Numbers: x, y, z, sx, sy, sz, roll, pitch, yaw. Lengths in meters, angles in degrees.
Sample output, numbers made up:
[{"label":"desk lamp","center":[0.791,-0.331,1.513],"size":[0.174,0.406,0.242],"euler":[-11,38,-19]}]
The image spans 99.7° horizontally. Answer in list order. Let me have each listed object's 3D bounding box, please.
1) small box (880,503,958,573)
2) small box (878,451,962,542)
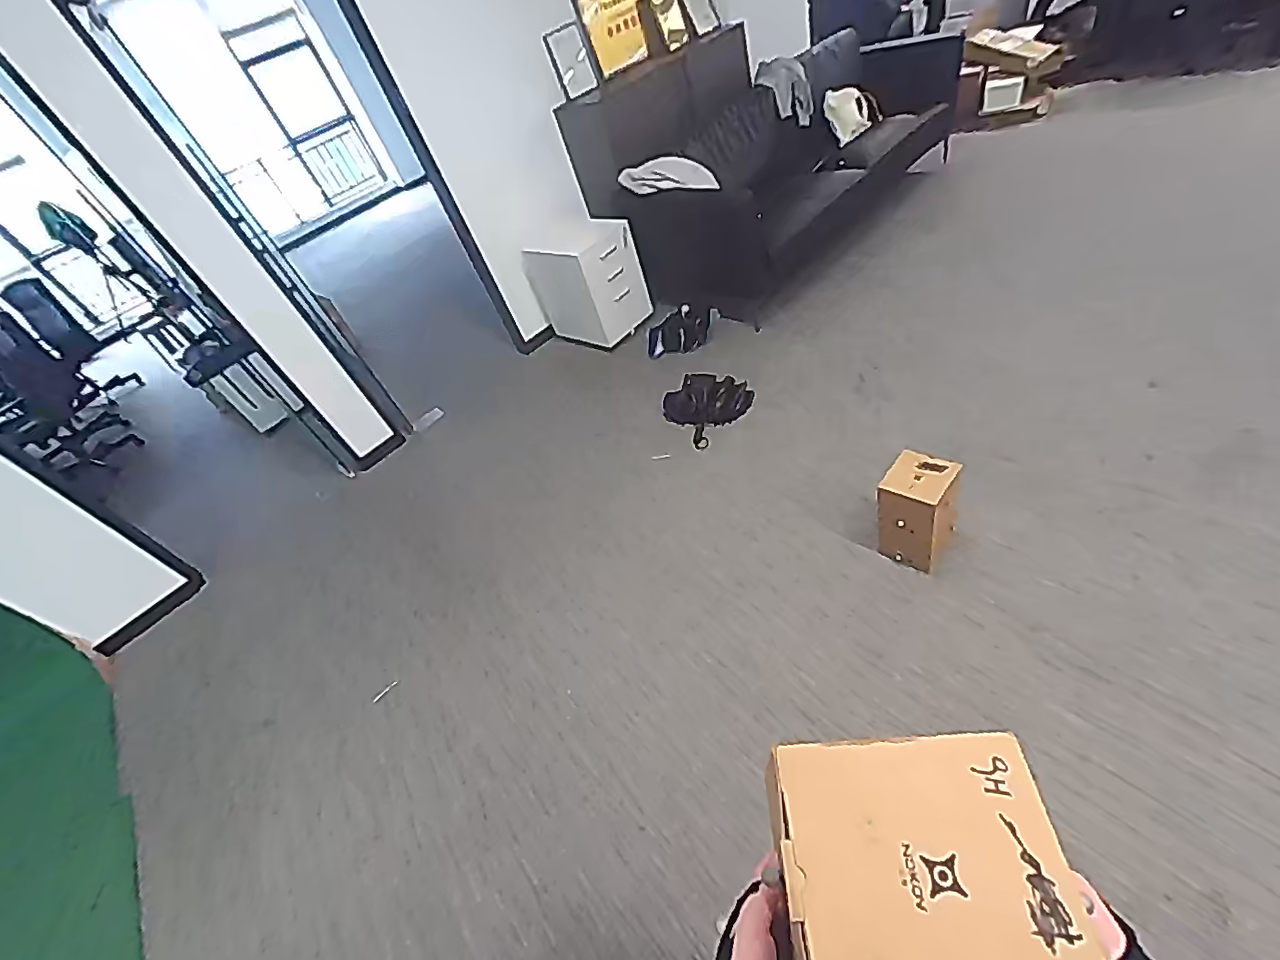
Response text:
[{"label":"small box","center":[0.879,0.159,1.712],"size":[0.168,0.176,0.179],"euler":[24,60,41]},{"label":"small box","center":[0.824,0.049,1.602],"size":[0.168,0.176,0.179],"euler":[24,59,41]}]
